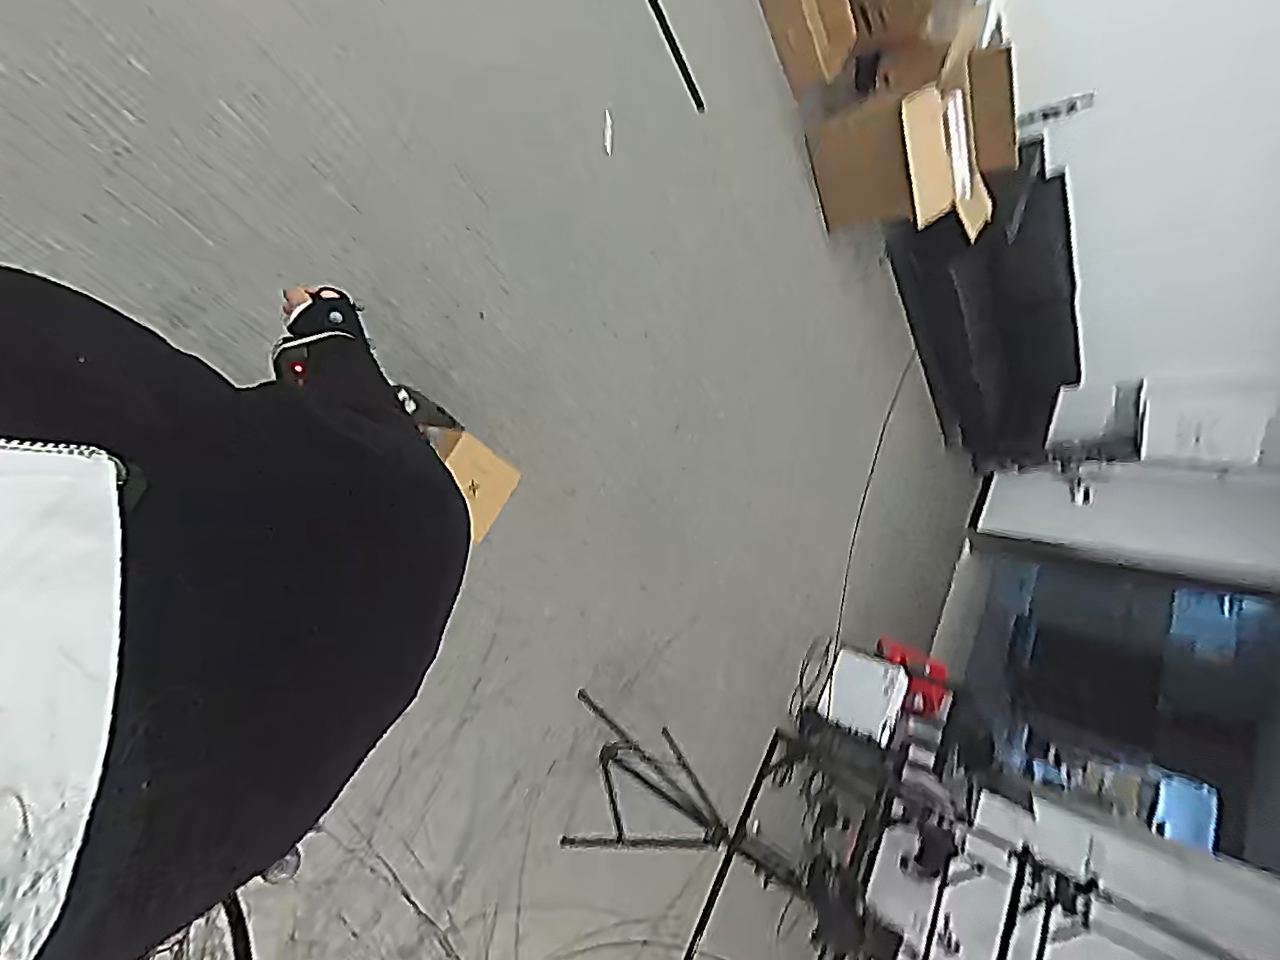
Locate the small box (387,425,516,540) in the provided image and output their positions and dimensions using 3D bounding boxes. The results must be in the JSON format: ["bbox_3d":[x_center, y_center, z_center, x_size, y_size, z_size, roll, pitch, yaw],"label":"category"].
[{"bbox_3d":[-0.405,0.001,1.148,0.168,0.176,0.179,43,66,-41],"label":"small box"}]
